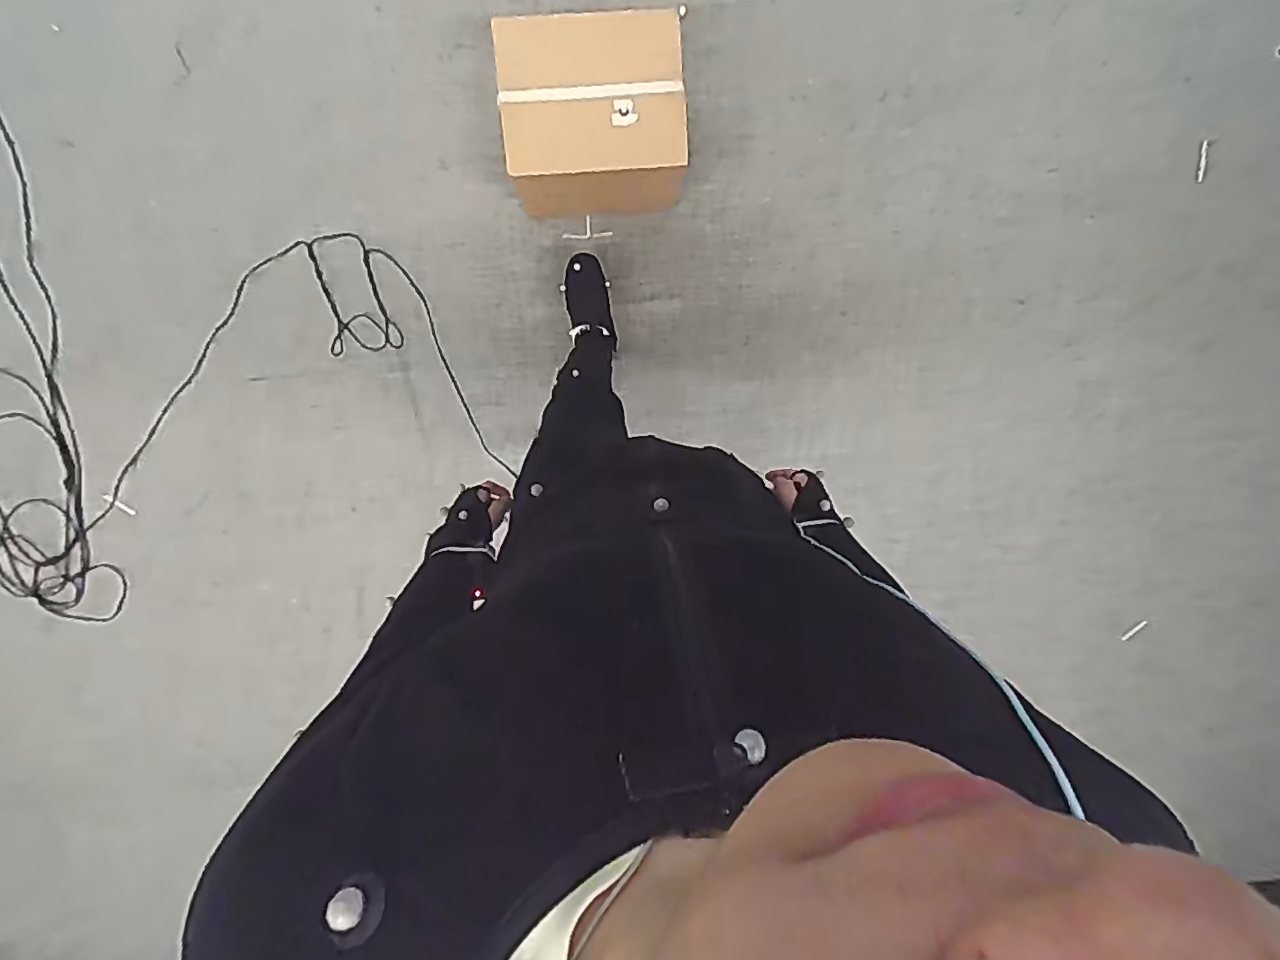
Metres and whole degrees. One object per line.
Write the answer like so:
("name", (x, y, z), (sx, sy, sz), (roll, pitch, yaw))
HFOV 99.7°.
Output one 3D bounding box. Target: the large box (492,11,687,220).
("large box", (-0.114, -0.864, 1.331), (0.408, 0.320, 0.320), (-6, 100, -2))
